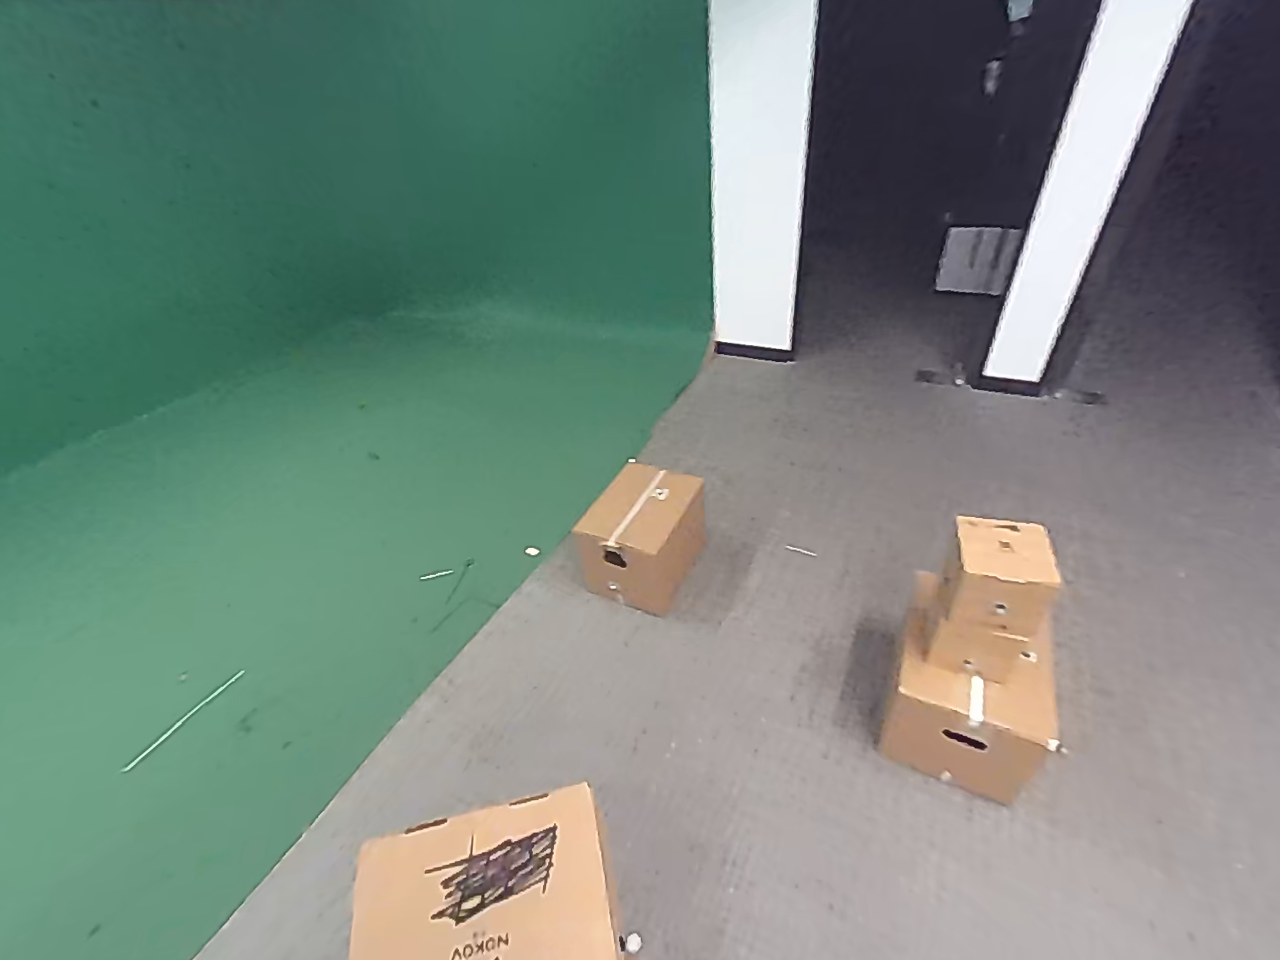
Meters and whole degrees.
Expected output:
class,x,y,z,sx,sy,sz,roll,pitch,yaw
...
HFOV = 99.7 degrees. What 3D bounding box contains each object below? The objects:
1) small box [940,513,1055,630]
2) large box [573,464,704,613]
class,x,y,z,sx,sy,sz,roll,pitch,yaw
small box,0.759,0.198,1.167,0.168,0.176,0.179,6,41,20
large box,0.014,0.199,1.943,0.320,0.320,0.408,14,42,25
